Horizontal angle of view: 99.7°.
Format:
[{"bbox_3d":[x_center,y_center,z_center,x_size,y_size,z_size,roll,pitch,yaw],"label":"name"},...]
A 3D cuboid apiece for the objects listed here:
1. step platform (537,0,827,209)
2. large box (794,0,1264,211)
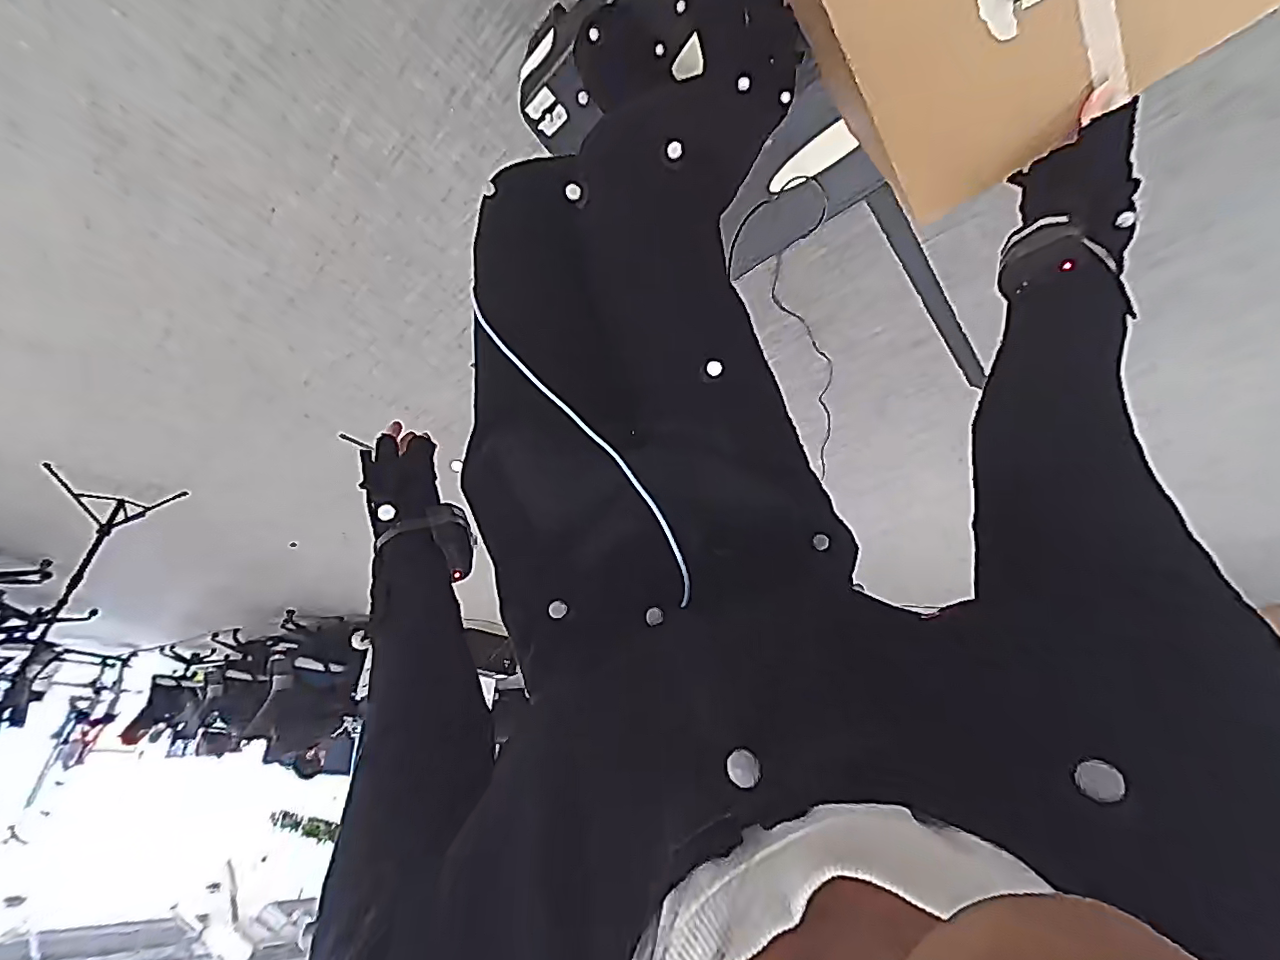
[{"bbox_3d":[0.159,-0.701,0.736,0.684,0.204,0.286,-24,141,38],"label":"step platform"},{"bbox_3d":[0.274,-0.540,0.451,0.320,0.320,0.408,-27,130,31],"label":"large box"}]
